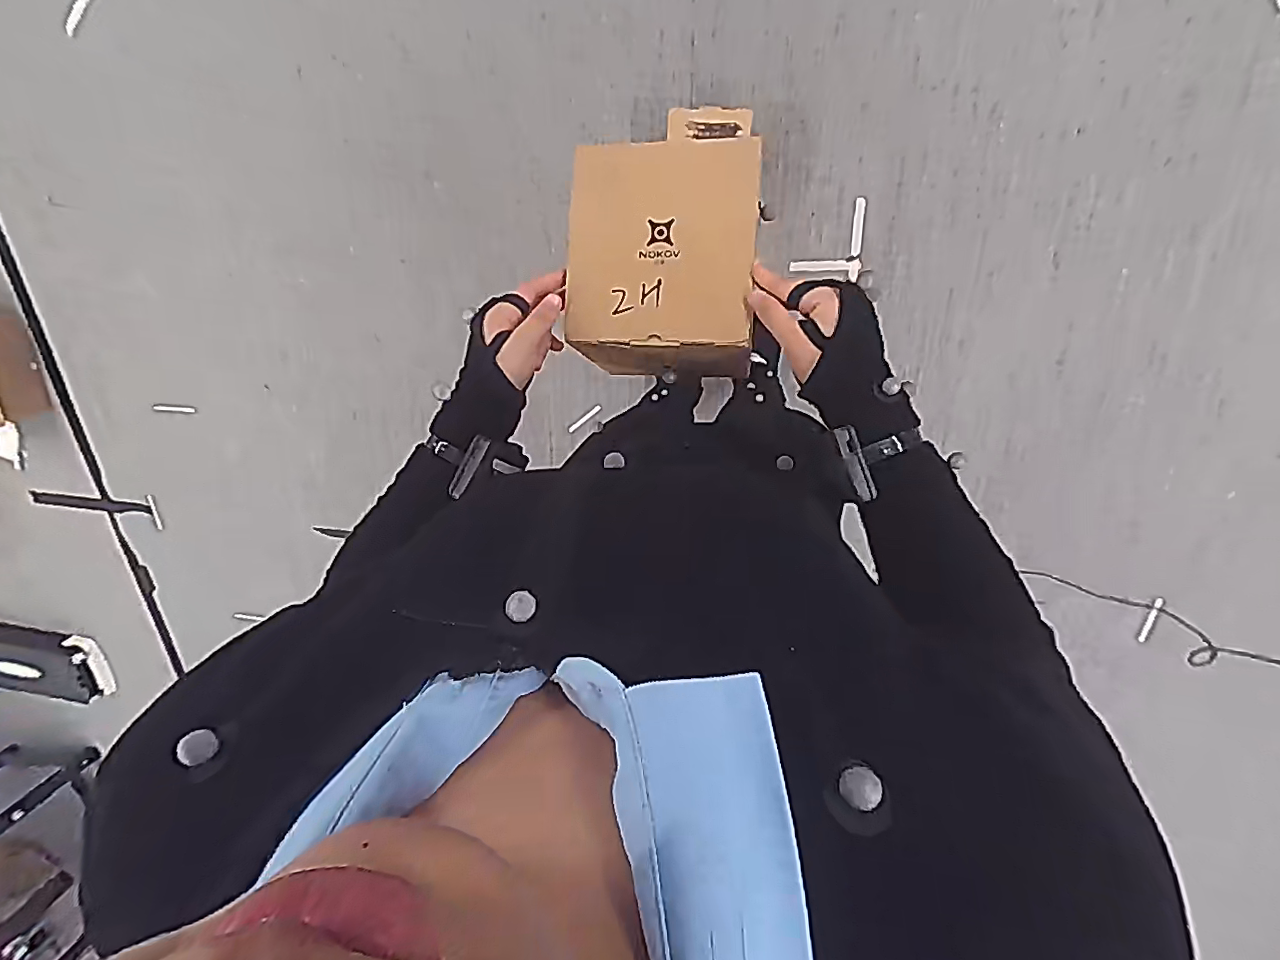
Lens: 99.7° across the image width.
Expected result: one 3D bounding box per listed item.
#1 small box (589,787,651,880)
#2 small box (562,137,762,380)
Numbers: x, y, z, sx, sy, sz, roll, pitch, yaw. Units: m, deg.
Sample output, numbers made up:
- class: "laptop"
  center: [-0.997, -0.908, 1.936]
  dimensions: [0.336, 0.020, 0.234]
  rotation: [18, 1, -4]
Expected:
- class: "small box"
  center: [-0.057, 1.117, 1.716]
  dimensions: [0.168, 0.176, 0.179]
  rotation: [2, 112, 9]
- class: "small box"
  center: [0.031, -0.206, 0.544]
  dimensions: [0.168, 0.176, 0.179]
  rotation: [4, 91, 11]
